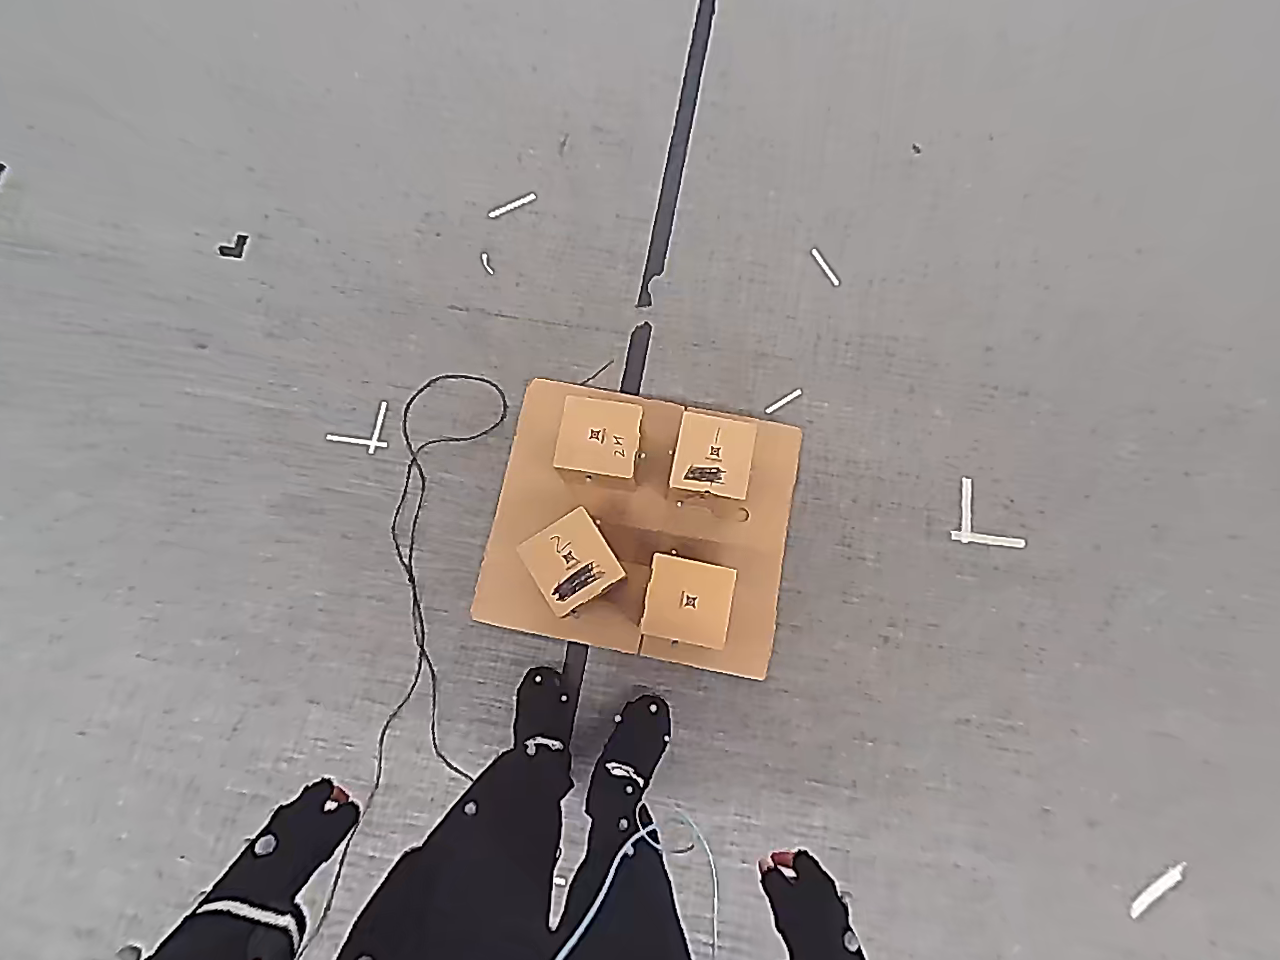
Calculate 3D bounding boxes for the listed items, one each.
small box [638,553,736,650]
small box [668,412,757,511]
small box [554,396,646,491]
[{"bbox_3d":[0.100,0.261,1.182,0.179,0.176,0.168,11,79,4],"label":"small box"},{"bbox_3d":[0.161,-0.035,1.240,0.168,0.176,0.179,12,78,3],"label":"small box"},{"bbox_3d":[-0.086,-0.077,1.247,0.179,0.176,0.168,9,79,2],"label":"small box"}]
